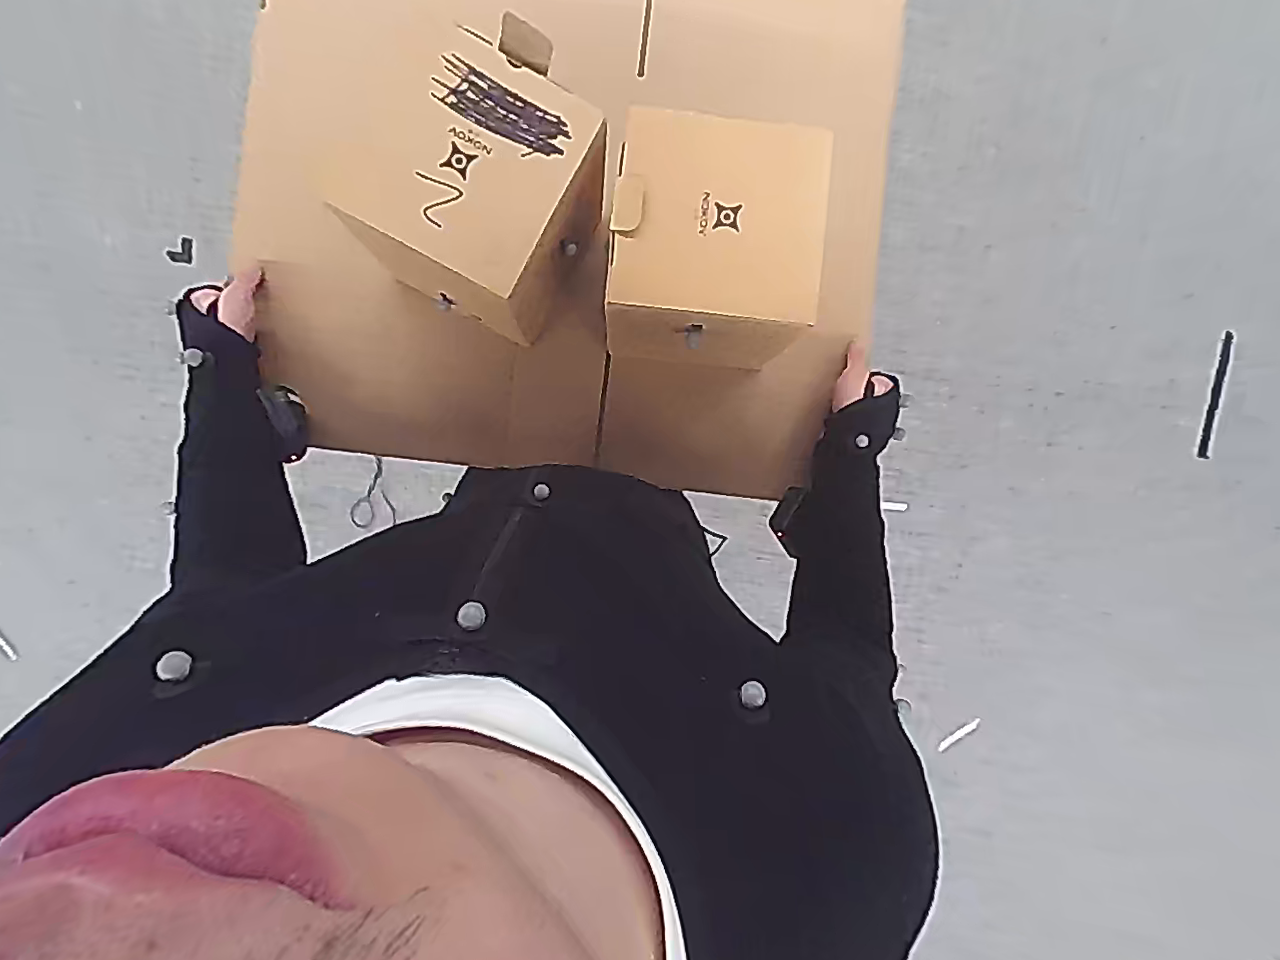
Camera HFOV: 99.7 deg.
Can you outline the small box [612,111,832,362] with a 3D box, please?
[{"bbox_3d":[0.067,-0.221,0.537,0.179,0.176,0.168,6,89,-1],"label":"small box"}]
